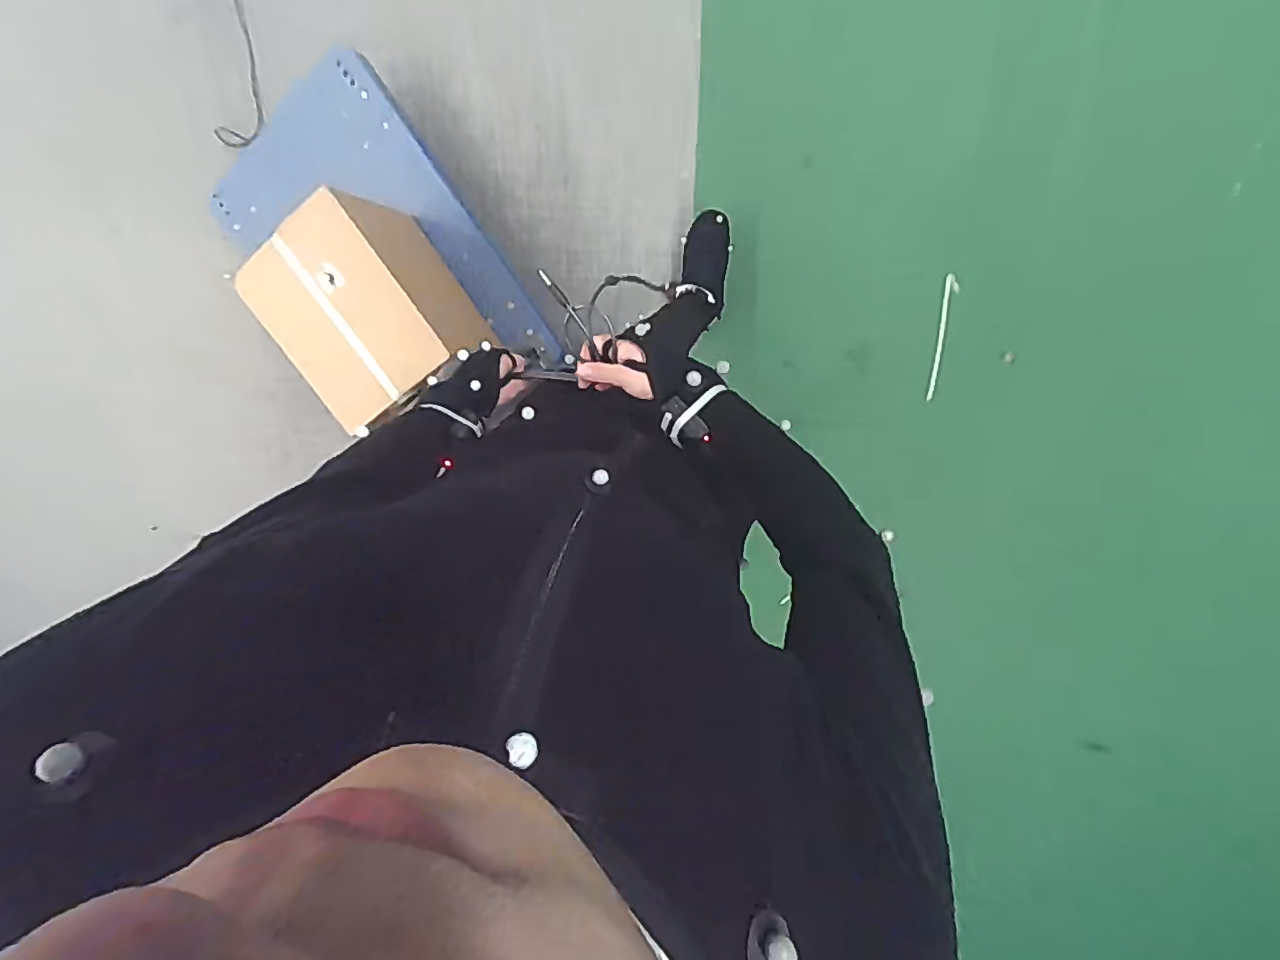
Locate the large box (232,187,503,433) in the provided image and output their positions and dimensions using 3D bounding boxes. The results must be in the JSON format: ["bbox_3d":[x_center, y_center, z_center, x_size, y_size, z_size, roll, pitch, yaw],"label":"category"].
[{"bbox_3d":[-0.601,-0.376,1.262,0.320,0.320,0.408,-32,98,15],"label":"large box"}]
